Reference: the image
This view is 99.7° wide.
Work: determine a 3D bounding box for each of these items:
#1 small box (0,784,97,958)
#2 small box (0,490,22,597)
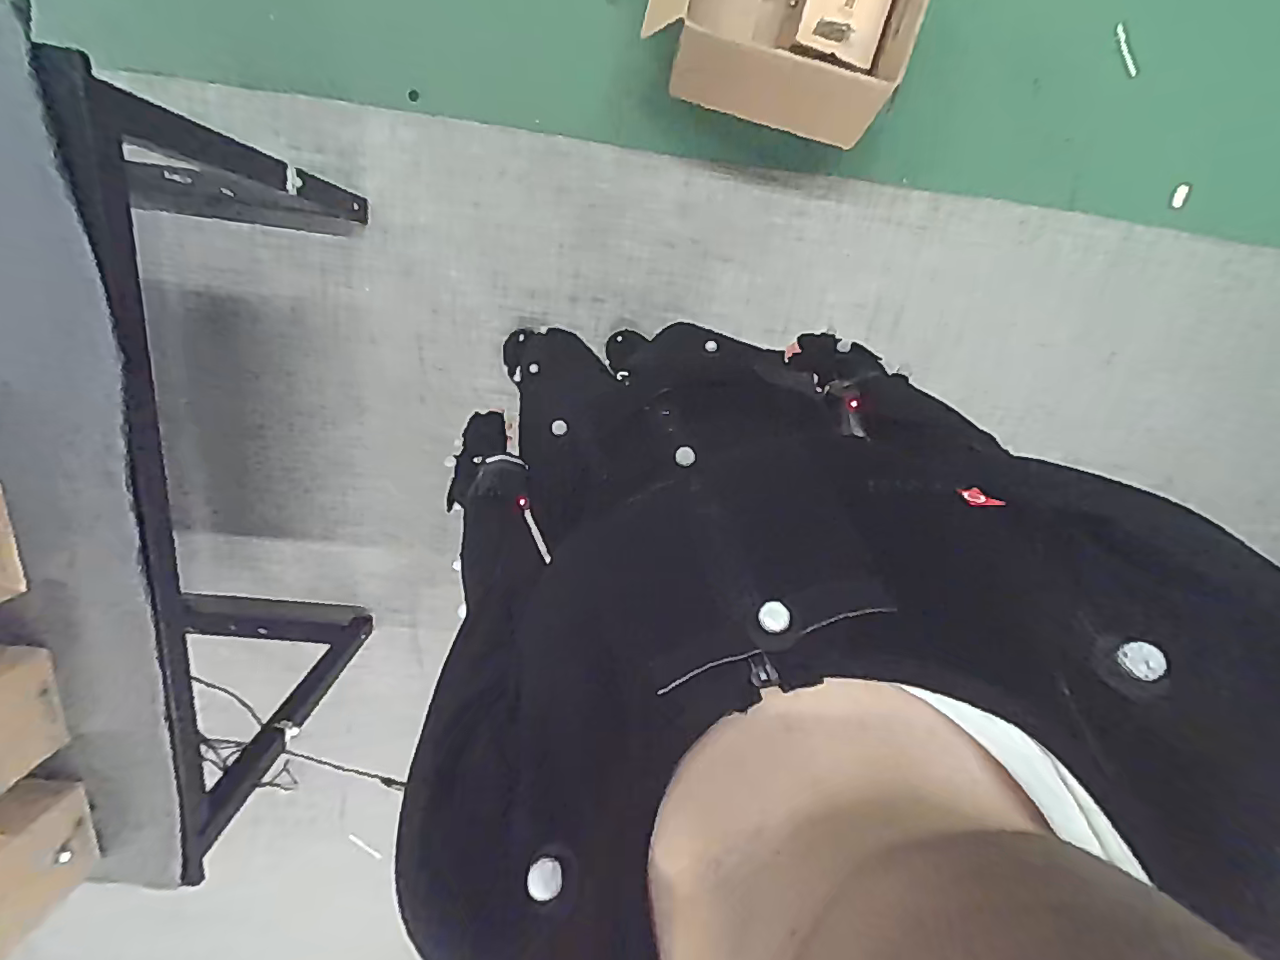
[{"bbox_3d":[-0.947,0.561,0.767,0.179,0.176,0.168,5,106,-3],"label":"small box"},{"bbox_3d":[-0.914,0.093,0.634,0.179,0.176,0.168,5,106,-5],"label":"small box"}]
